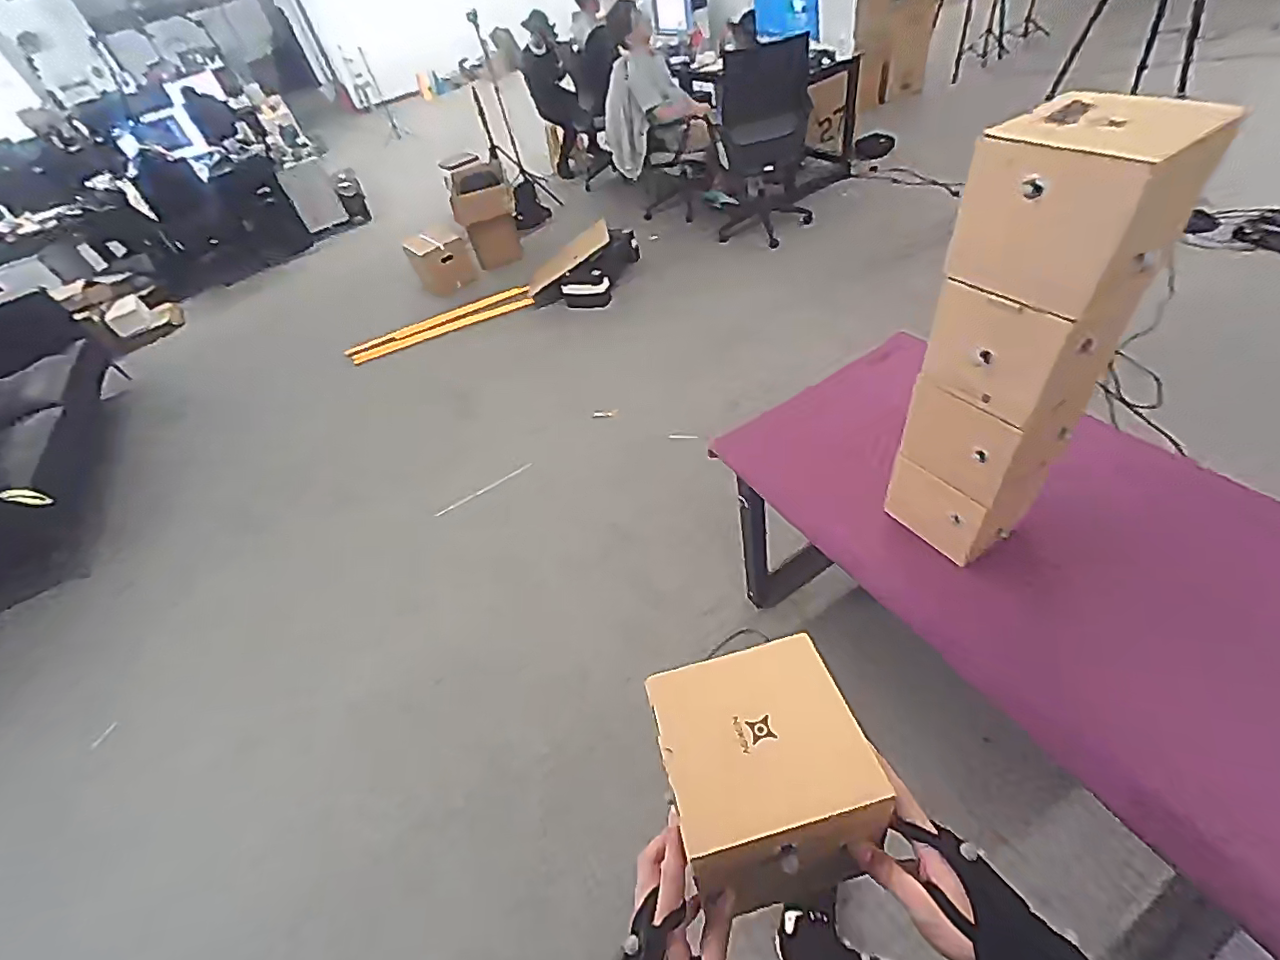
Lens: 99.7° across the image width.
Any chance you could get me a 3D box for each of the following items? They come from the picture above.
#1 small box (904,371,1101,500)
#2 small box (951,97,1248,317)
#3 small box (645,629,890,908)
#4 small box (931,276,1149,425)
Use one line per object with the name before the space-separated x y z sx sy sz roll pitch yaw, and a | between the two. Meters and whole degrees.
small box | 0.556 -0.091 0.856 0.168 0.176 0.179 -29 47 -14
small box | 0.500 -0.314 0.622 0.168 0.176 0.179 -30 48 -15
small box | 0.116 0.283 0.536 0.179 0.176 0.168 -16 36 -3
small box | 0.531 -0.204 0.742 0.179 0.176 0.168 -31 48 -15
